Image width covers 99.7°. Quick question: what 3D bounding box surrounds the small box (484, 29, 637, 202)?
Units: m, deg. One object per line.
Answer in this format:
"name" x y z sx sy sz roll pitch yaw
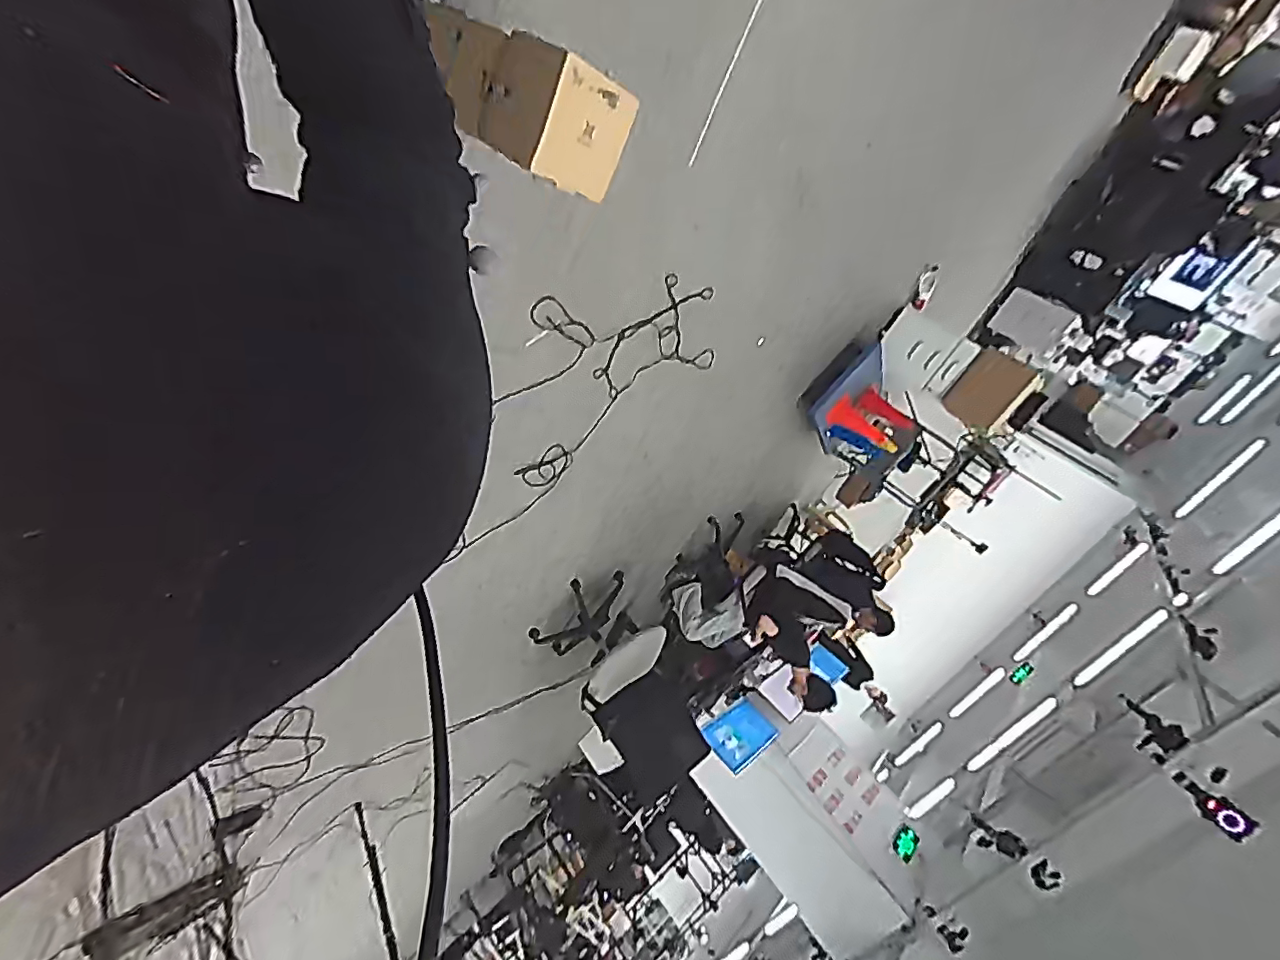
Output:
"small box" -0.144 -0.622 0.932 0.168 0.176 0.179 -6 132 -50

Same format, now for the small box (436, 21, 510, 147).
"small box" -0.253 -0.716 1.011 0.179 0.176 0.168 -8 133 -49

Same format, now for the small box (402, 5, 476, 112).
"small box" -0.348 -0.818 1.098 0.179 0.176 0.168 -5 130 -50
